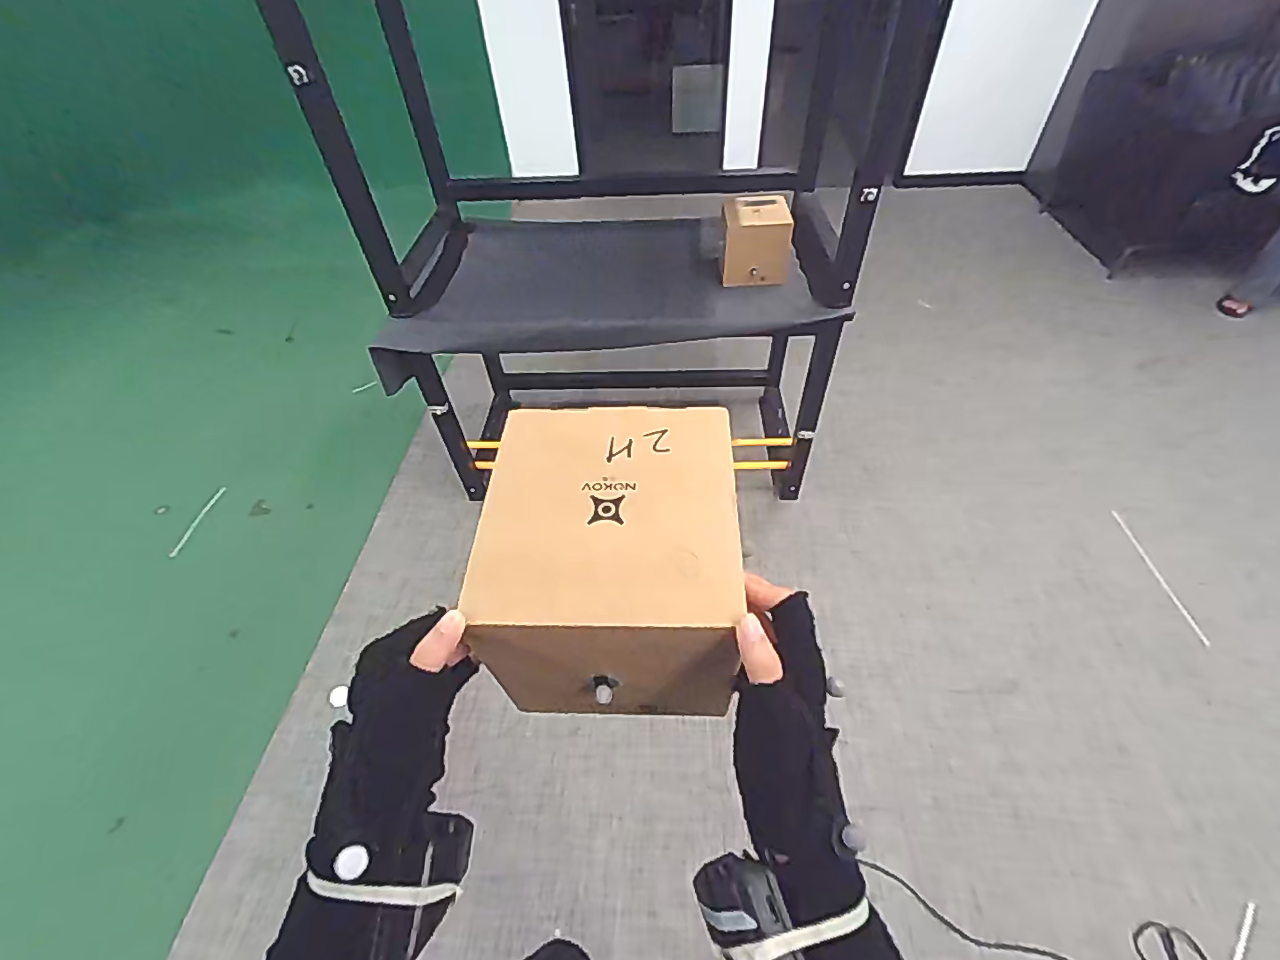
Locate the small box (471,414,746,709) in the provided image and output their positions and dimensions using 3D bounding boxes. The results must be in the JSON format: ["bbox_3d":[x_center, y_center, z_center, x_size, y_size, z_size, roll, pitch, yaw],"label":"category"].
[{"bbox_3d":[-0.013,0.069,0.424,0.168,0.176,0.179,0,50,3],"label":"small box"}]
